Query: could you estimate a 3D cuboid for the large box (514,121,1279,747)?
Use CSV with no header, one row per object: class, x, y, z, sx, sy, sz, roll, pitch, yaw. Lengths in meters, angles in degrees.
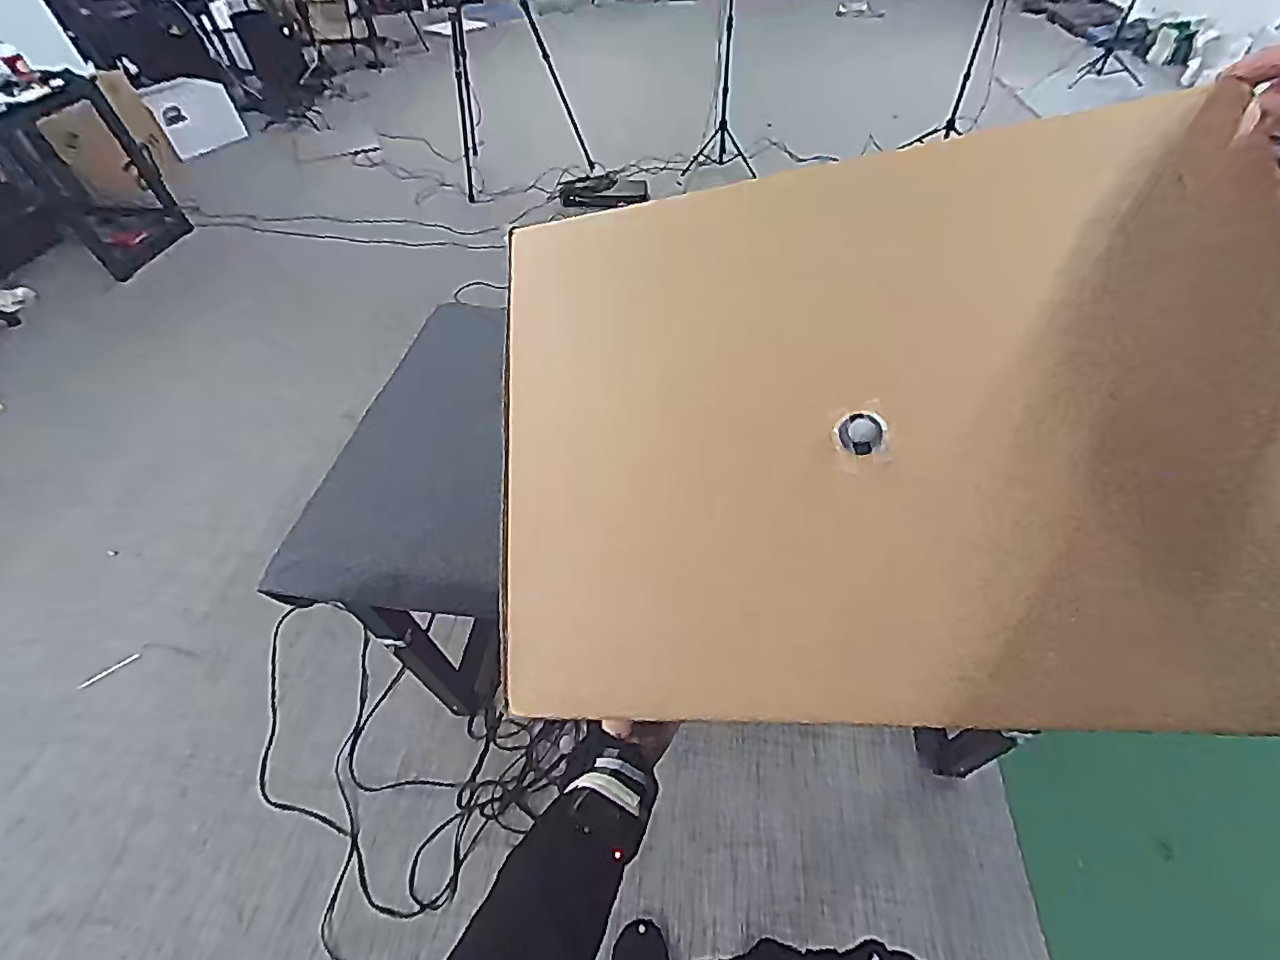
large box,0.152,0.004,0.436,0.408,0.320,0.320,-6,78,12
